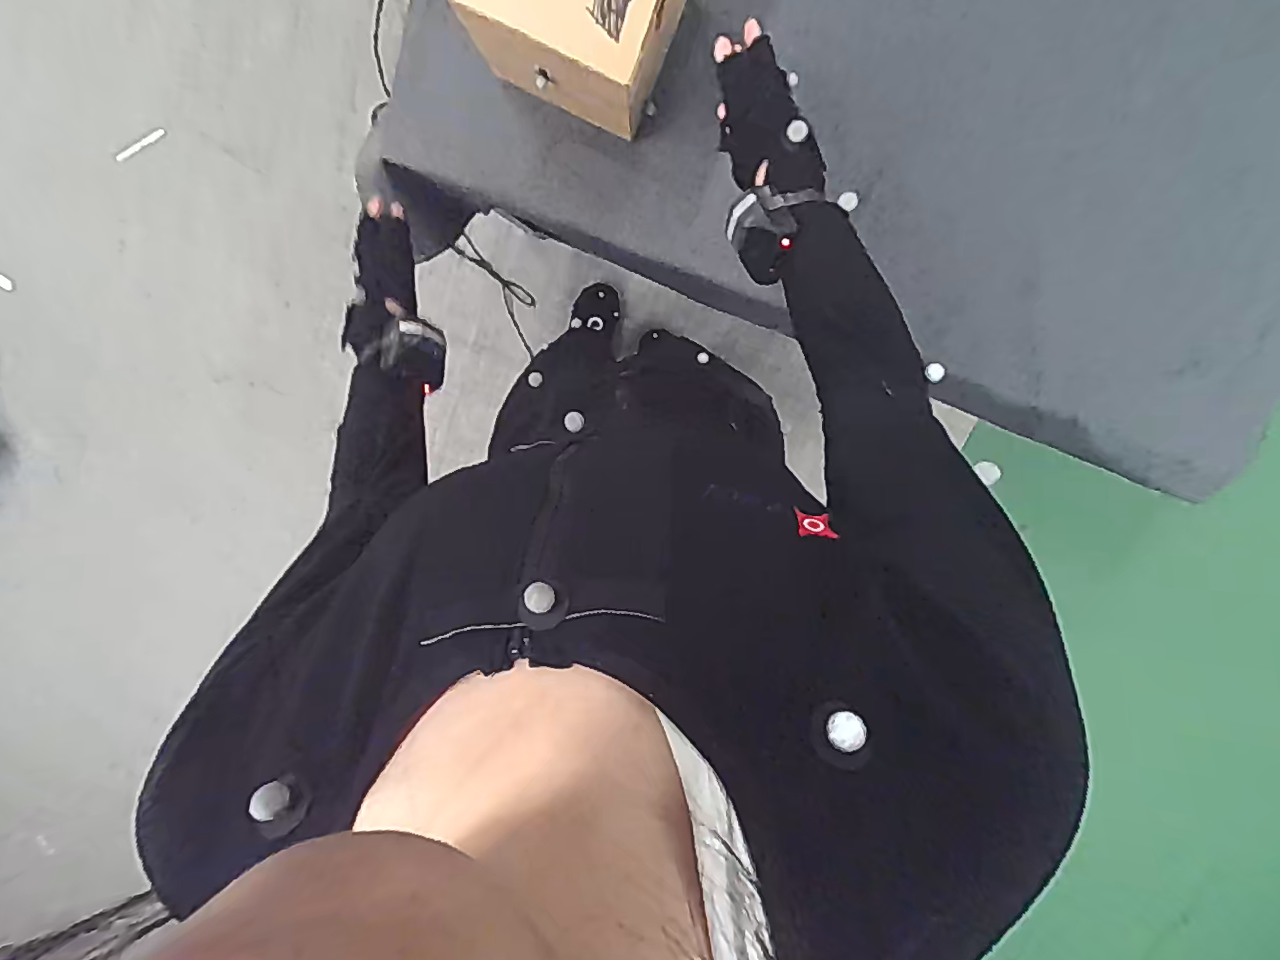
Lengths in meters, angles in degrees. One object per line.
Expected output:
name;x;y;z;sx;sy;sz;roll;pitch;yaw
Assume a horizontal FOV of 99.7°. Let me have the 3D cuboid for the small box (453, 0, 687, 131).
small box;-0.053;-0.481;0.534;0.179;0.176;0.168;23;106;-6
